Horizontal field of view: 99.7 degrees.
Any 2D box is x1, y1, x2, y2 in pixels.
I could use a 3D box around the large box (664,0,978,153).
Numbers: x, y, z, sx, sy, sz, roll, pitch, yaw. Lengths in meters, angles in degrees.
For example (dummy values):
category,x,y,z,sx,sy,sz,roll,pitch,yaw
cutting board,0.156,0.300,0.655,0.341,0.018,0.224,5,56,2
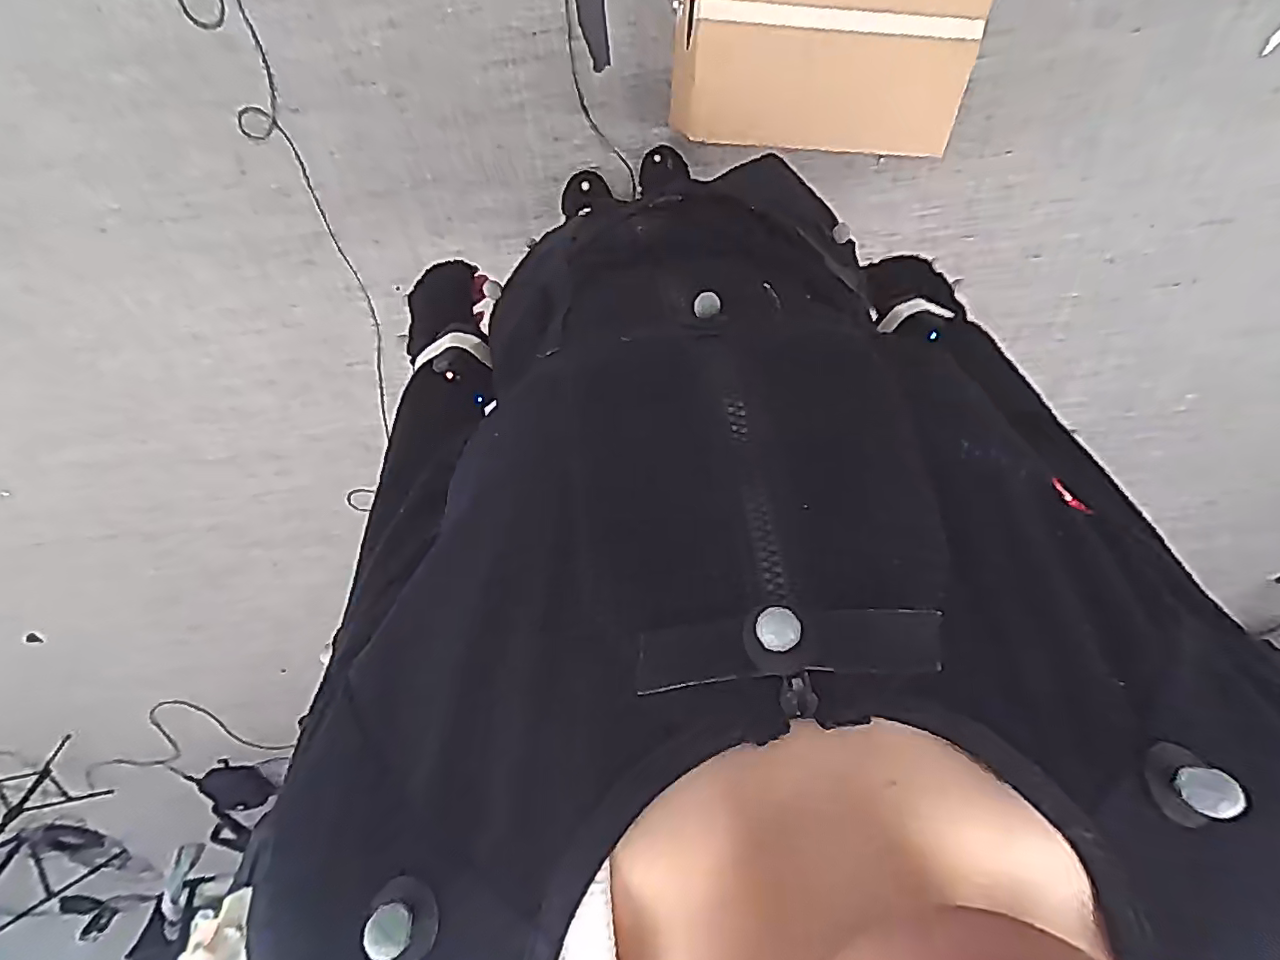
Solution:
category,x,y,z,sx,sy,sz,roll,pitch,yaw
large box,0.261,-0.733,0.868,0.408,0.320,0.320,1,126,-5
